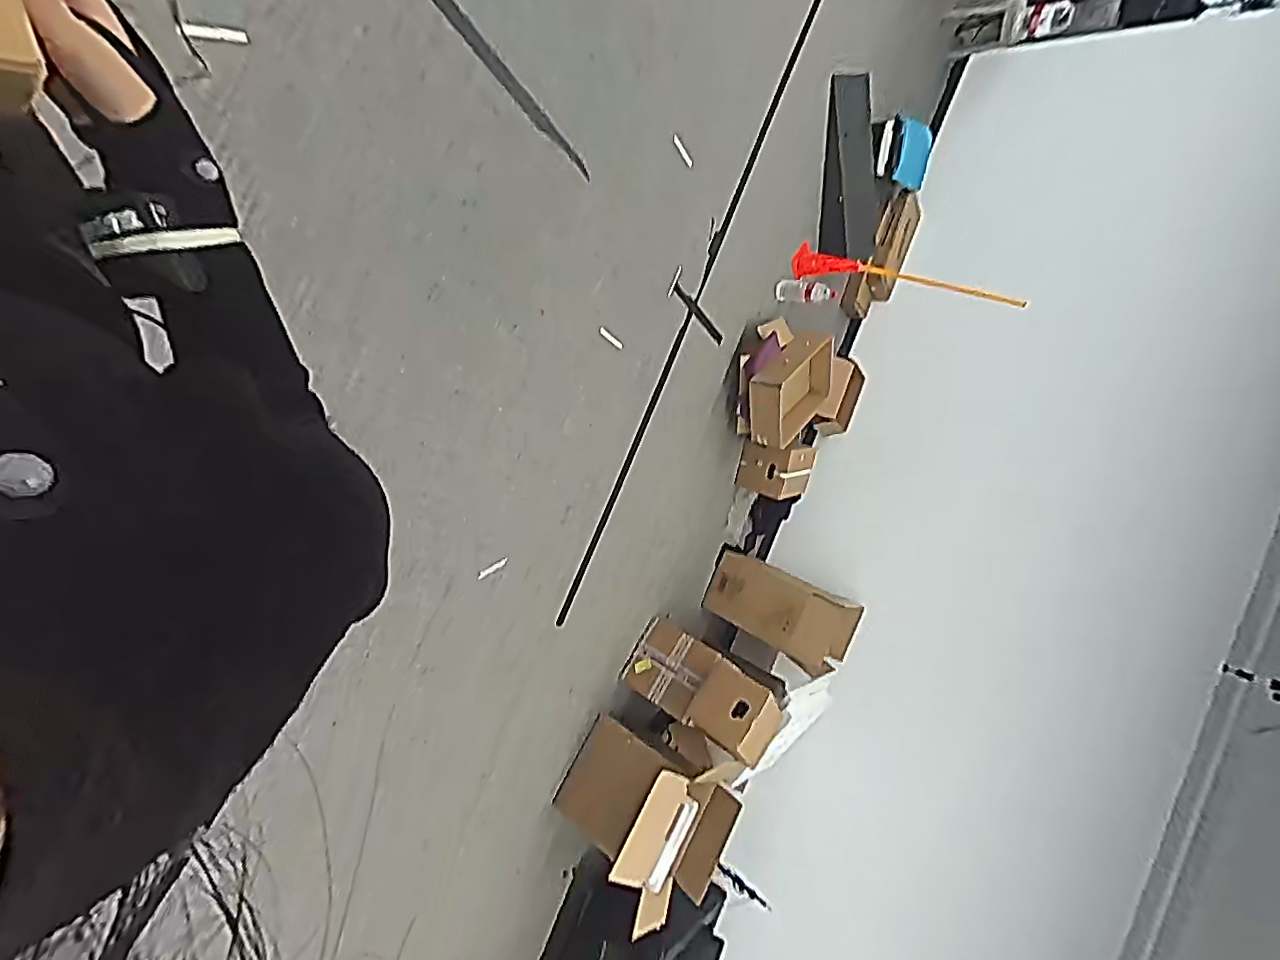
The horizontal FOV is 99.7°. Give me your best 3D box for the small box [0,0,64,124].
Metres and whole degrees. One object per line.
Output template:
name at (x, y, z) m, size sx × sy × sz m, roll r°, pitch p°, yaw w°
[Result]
small box at (-0.368, -0.253, 0.198) m, size 0.168 × 0.176 × 0.179 m, roll -24°, pitch 124°, yaw -44°
